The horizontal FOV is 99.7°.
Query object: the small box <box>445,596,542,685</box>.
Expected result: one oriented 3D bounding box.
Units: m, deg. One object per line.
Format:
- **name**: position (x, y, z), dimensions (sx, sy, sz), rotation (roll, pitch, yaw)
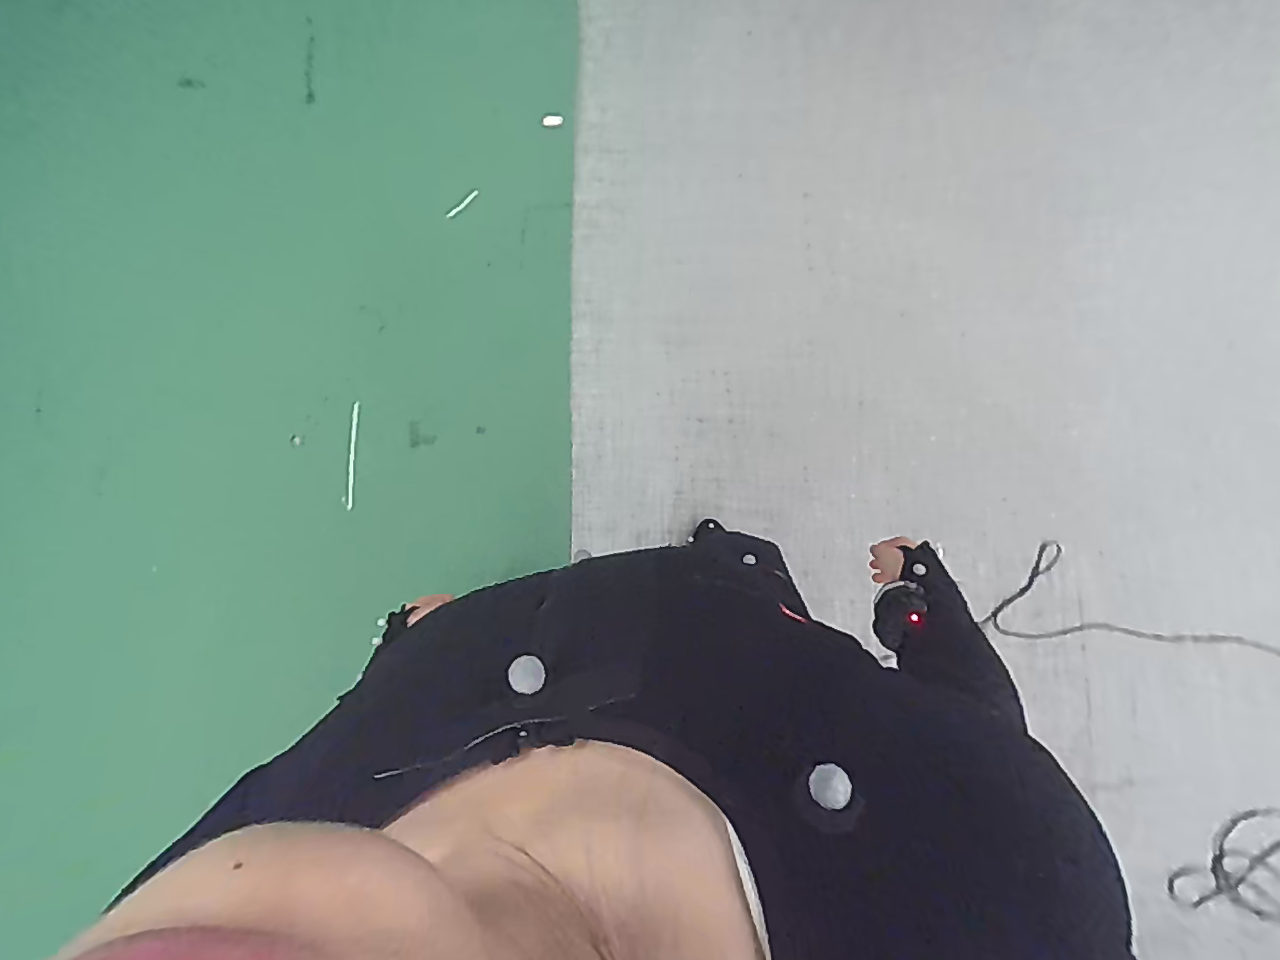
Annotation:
- **small box**: position (-0.371, 0.407, 1.409), dimensions (0.179, 0.176, 0.168), rotation (16, 85, 6)
